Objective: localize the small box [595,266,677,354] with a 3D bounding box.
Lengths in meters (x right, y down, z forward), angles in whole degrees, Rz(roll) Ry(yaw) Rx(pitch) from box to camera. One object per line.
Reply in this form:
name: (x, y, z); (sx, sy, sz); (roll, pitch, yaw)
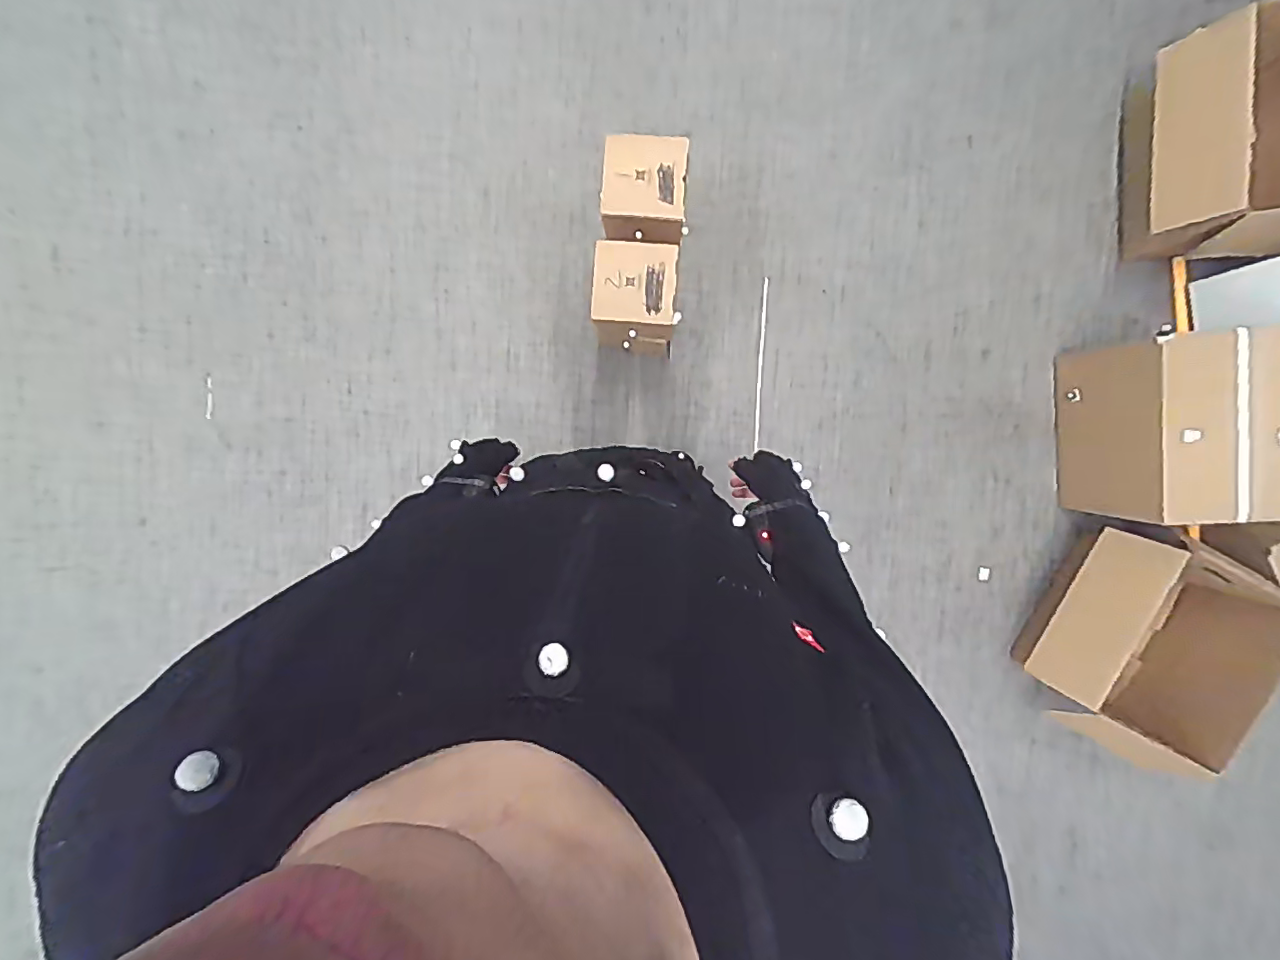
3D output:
small box: (-0.008, -0.422, 1.366); (0.179, 0.176, 0.168); (9, 94, 1)
